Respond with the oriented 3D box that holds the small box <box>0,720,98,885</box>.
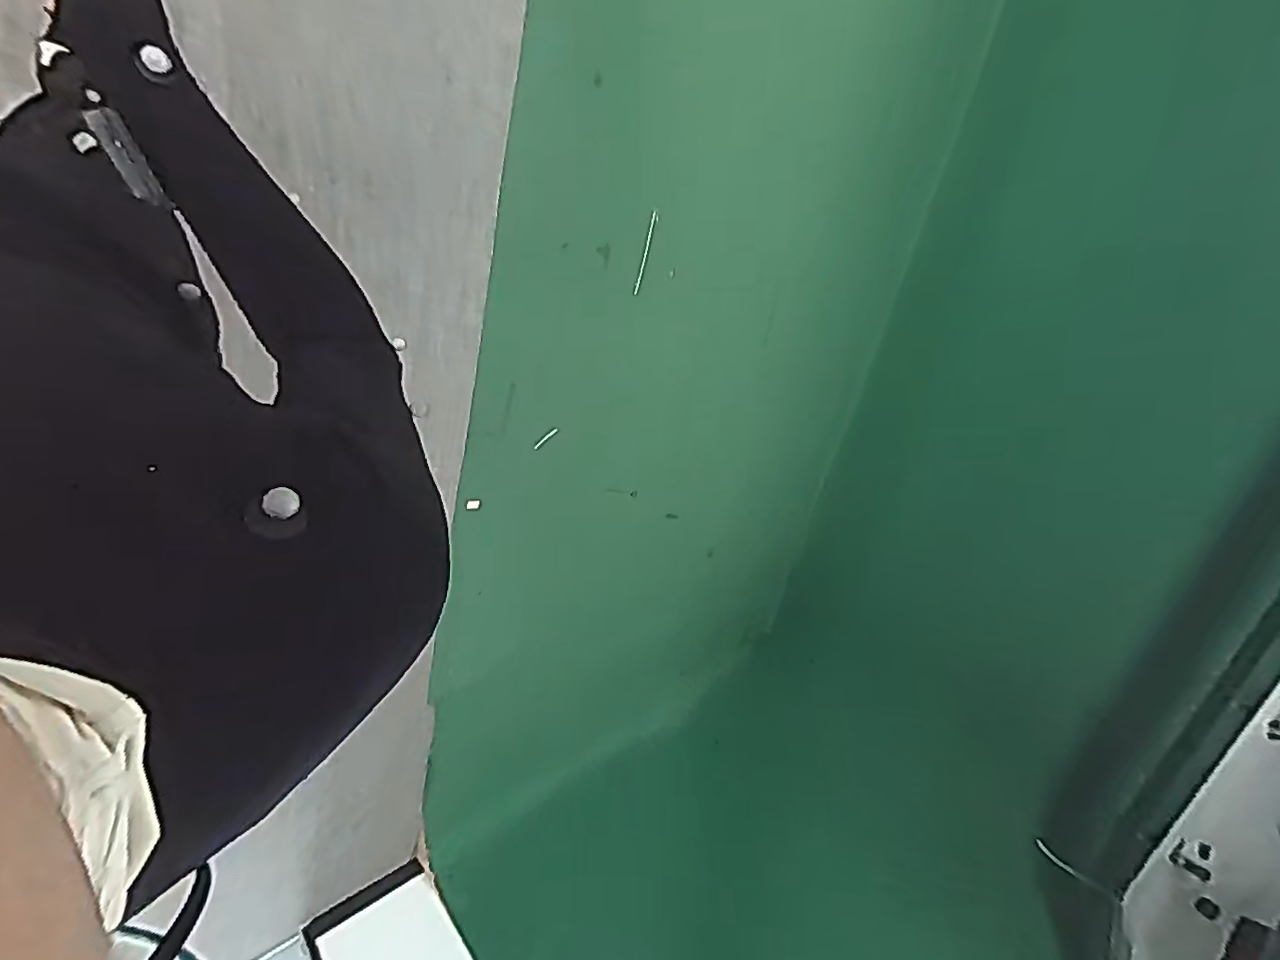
[{"bbox_3d":[-1.084,0.571,0.962,0.168,0.176,0.179,-3,113,-47],"label":"small box"}]
